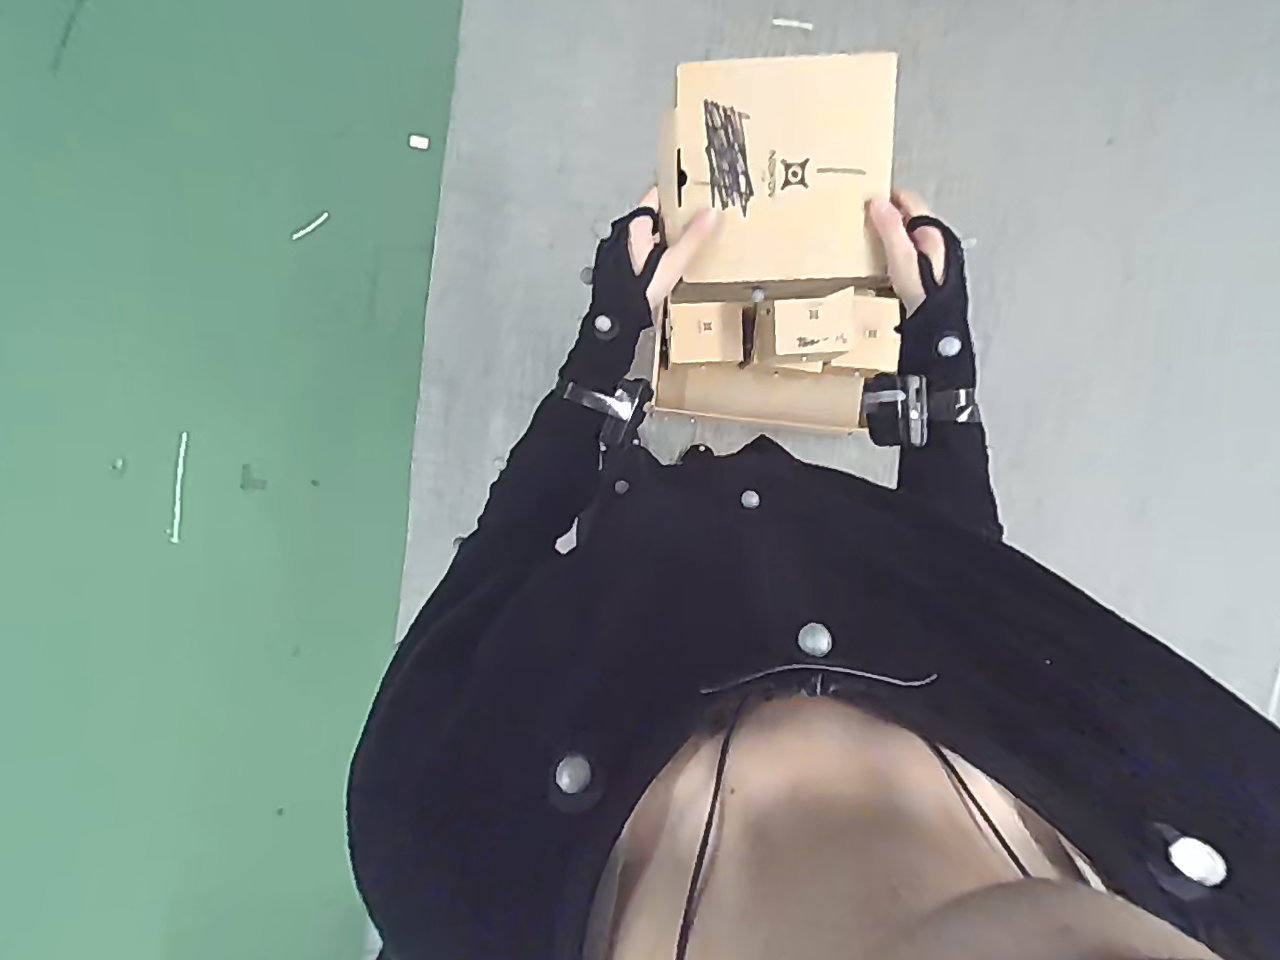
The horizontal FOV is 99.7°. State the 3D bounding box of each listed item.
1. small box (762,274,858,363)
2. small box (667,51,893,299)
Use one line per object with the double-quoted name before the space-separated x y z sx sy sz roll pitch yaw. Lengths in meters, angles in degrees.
"small box" 0.365 -0.360 1.185 0.168 0.176 0.179 -2 94 2
"small box" 0.115 -0.270 0.518 0.179 0.176 0.168 -2 103 0
